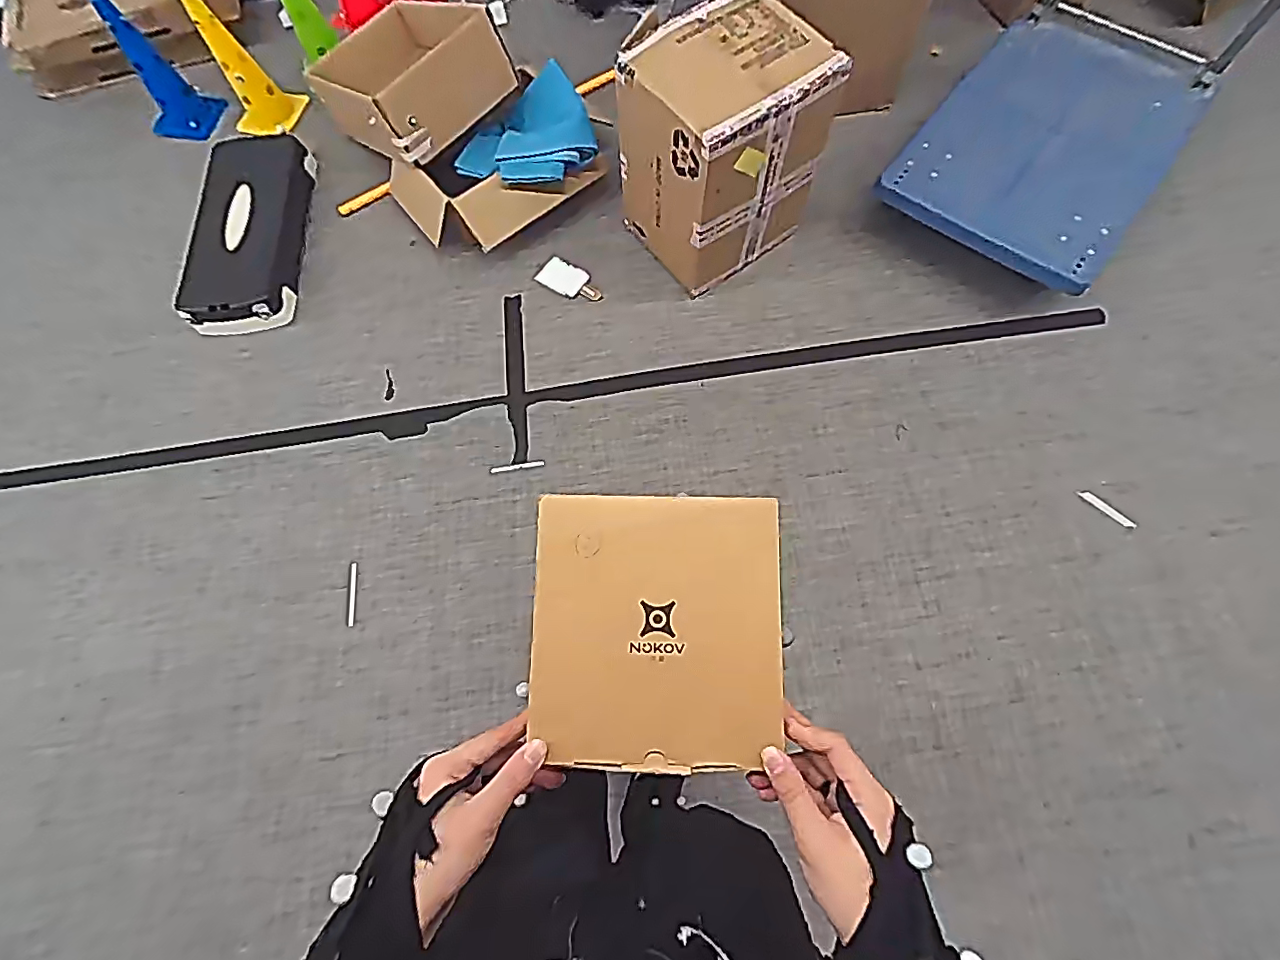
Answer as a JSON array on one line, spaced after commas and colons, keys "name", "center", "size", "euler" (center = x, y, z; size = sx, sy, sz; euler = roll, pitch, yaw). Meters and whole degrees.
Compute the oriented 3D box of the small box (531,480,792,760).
[{"name": "small box", "center": [0.014, 0.102, 0.429], "size": [0.168, 0.176, 0.179], "euler": [1, 80, 0]}]
